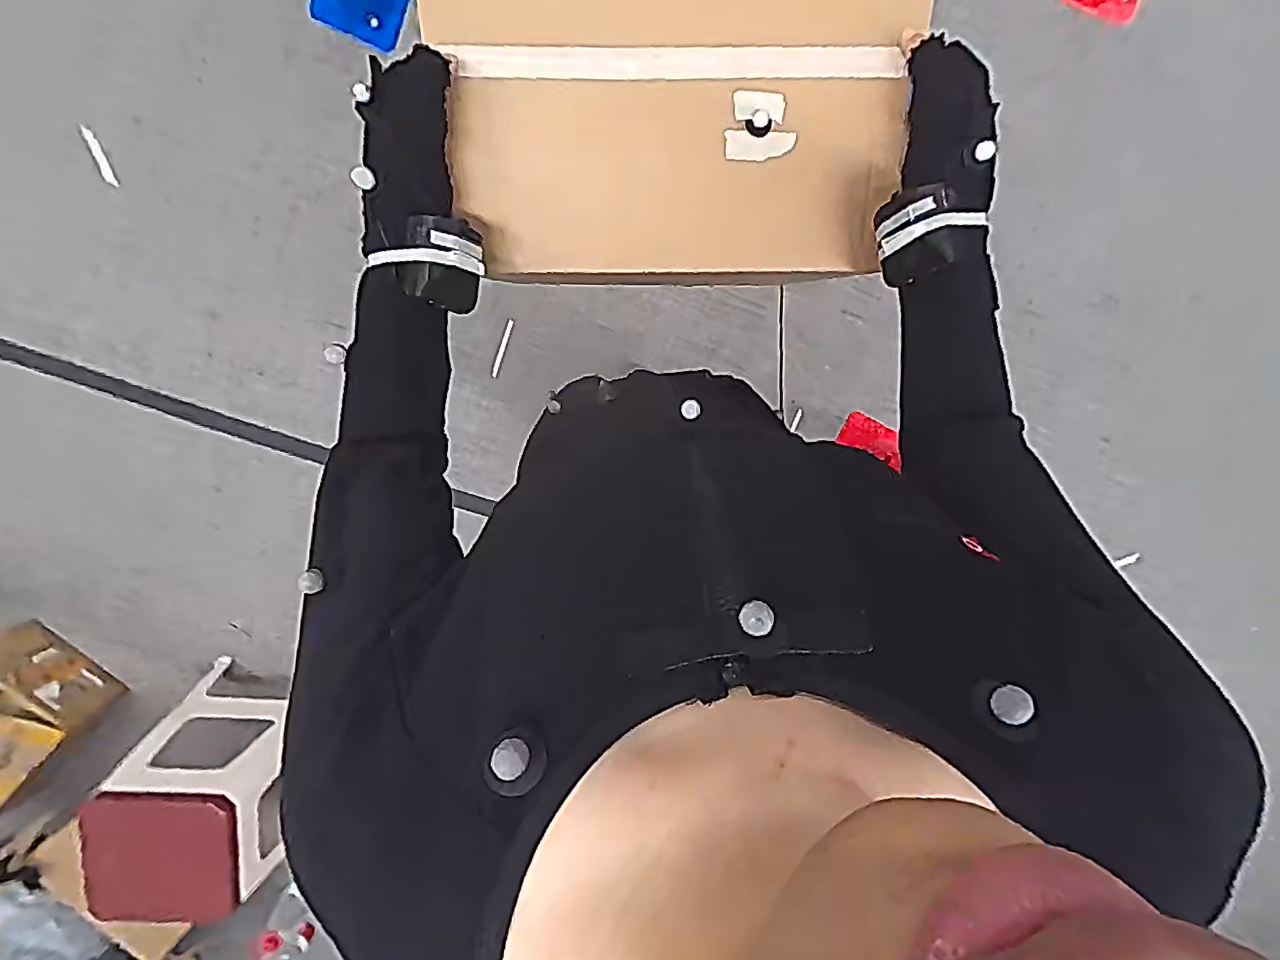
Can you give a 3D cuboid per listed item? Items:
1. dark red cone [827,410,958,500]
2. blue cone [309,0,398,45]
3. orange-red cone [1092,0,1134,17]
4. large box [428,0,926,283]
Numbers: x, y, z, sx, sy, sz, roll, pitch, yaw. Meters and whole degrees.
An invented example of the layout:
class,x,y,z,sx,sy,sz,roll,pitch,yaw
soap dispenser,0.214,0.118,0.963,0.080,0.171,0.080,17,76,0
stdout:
class,x,y,z,sx,sy,sz,roll,pitch,yaw
dark red cone,0.633,-0.035,1.303,0.201,0.394,0.202,25,98,-6
blue cone,-0.641,-1.090,1.074,0.192,0.380,0.193,23,98,-6
orange-red cone,1.143,-1.219,1.131,0.198,0.360,0.199,17,98,-7
large box,0.024,-0.387,0.583,0.408,0.320,0.320,-1,108,-3
